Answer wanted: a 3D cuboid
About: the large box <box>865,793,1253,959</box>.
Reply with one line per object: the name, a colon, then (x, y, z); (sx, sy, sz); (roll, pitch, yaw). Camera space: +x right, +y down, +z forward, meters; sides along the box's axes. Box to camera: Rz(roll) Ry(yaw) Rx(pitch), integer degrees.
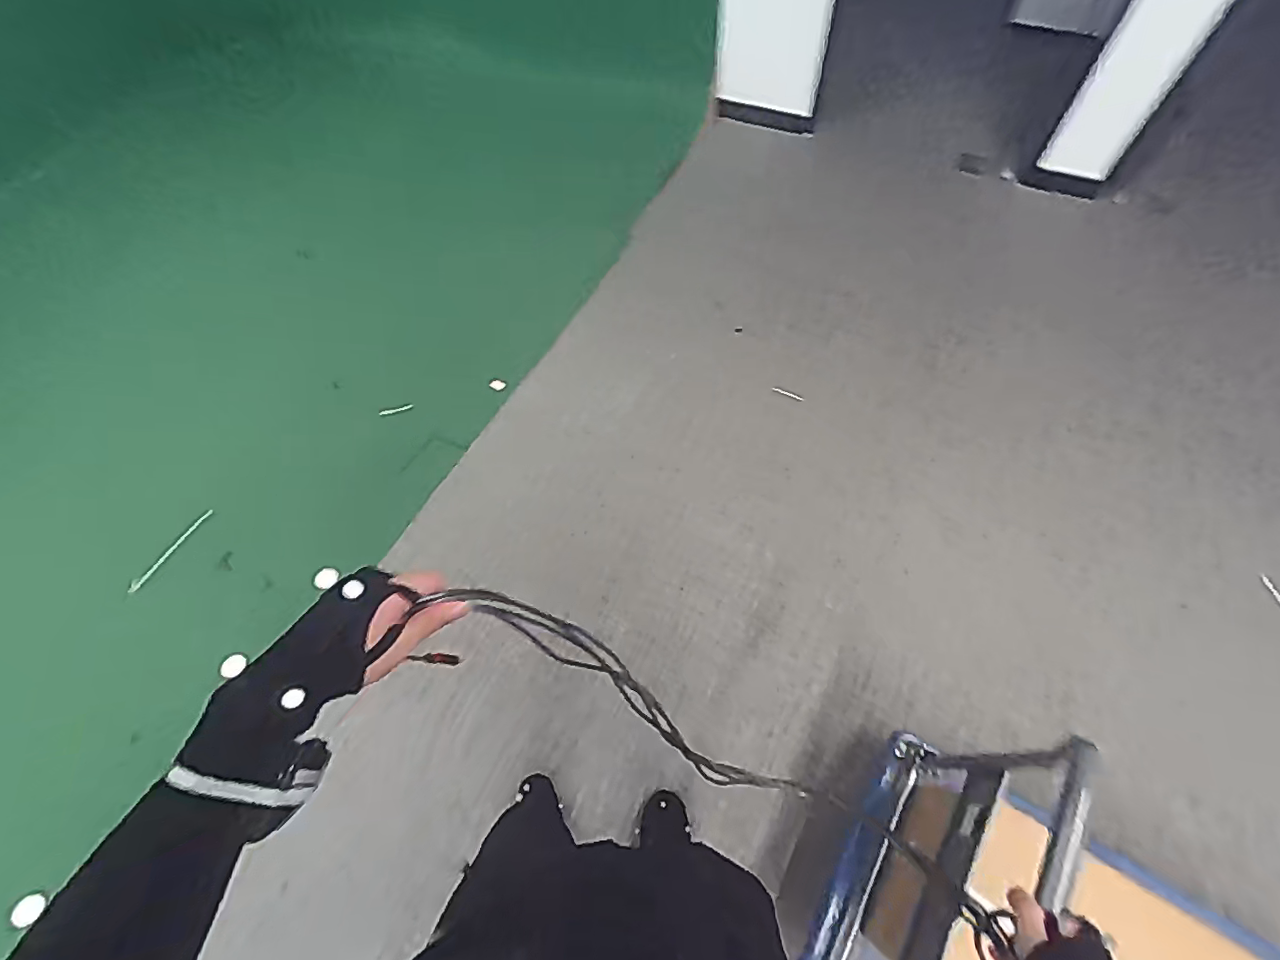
large box: (0.671, 0.803, 0.921); (0.408, 0.320, 0.320); (30, 69, 18)
